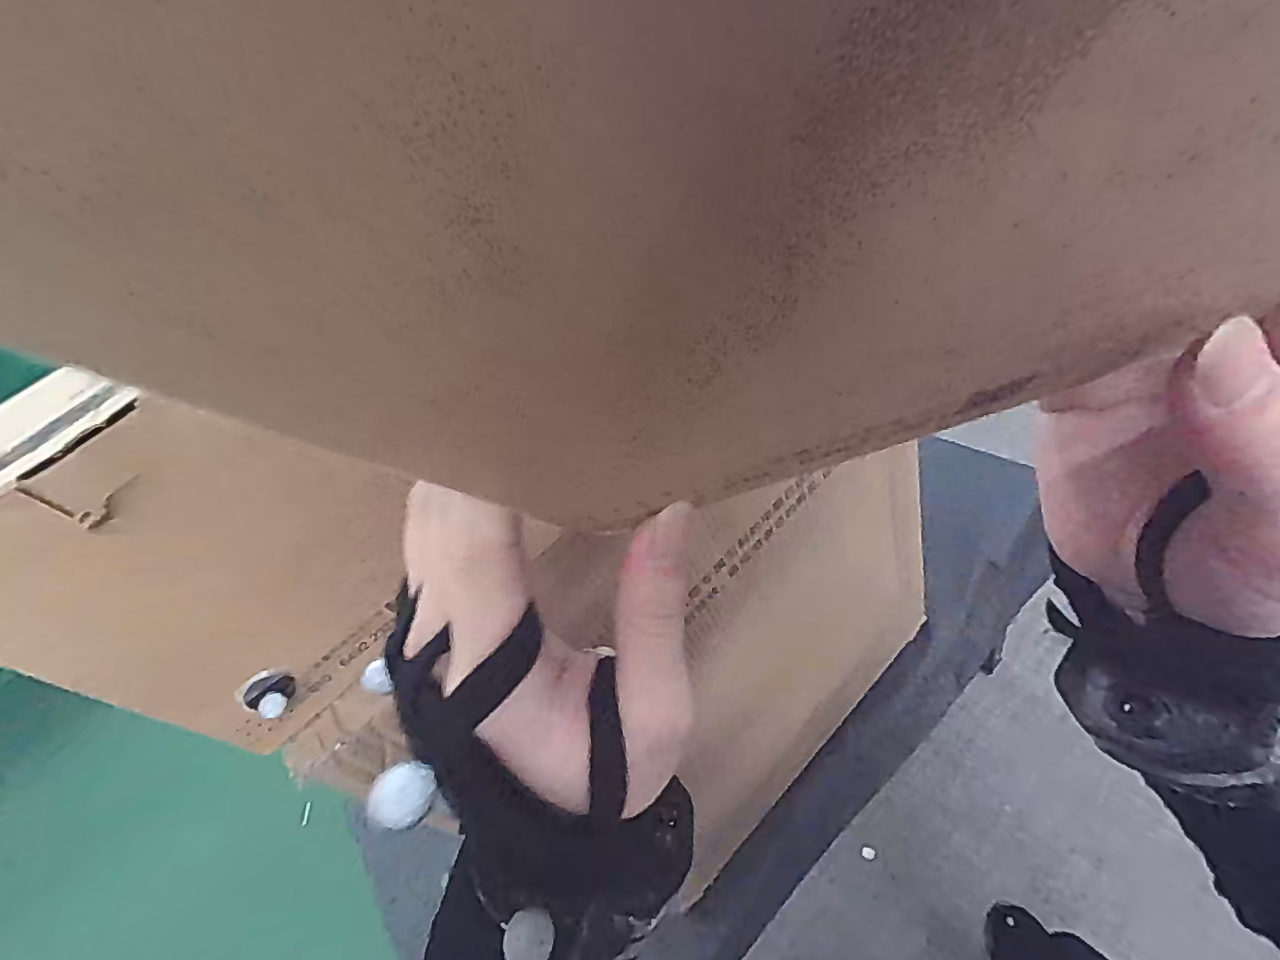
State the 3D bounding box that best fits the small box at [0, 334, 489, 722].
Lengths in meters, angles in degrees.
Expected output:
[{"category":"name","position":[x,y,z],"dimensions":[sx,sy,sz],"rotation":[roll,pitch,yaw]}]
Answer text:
[{"category":"small box","position":[-0.215,0.006,0.304],"dimensions":[0.168,0.176,0.179],"rotation":[-41,43,-11]}]
